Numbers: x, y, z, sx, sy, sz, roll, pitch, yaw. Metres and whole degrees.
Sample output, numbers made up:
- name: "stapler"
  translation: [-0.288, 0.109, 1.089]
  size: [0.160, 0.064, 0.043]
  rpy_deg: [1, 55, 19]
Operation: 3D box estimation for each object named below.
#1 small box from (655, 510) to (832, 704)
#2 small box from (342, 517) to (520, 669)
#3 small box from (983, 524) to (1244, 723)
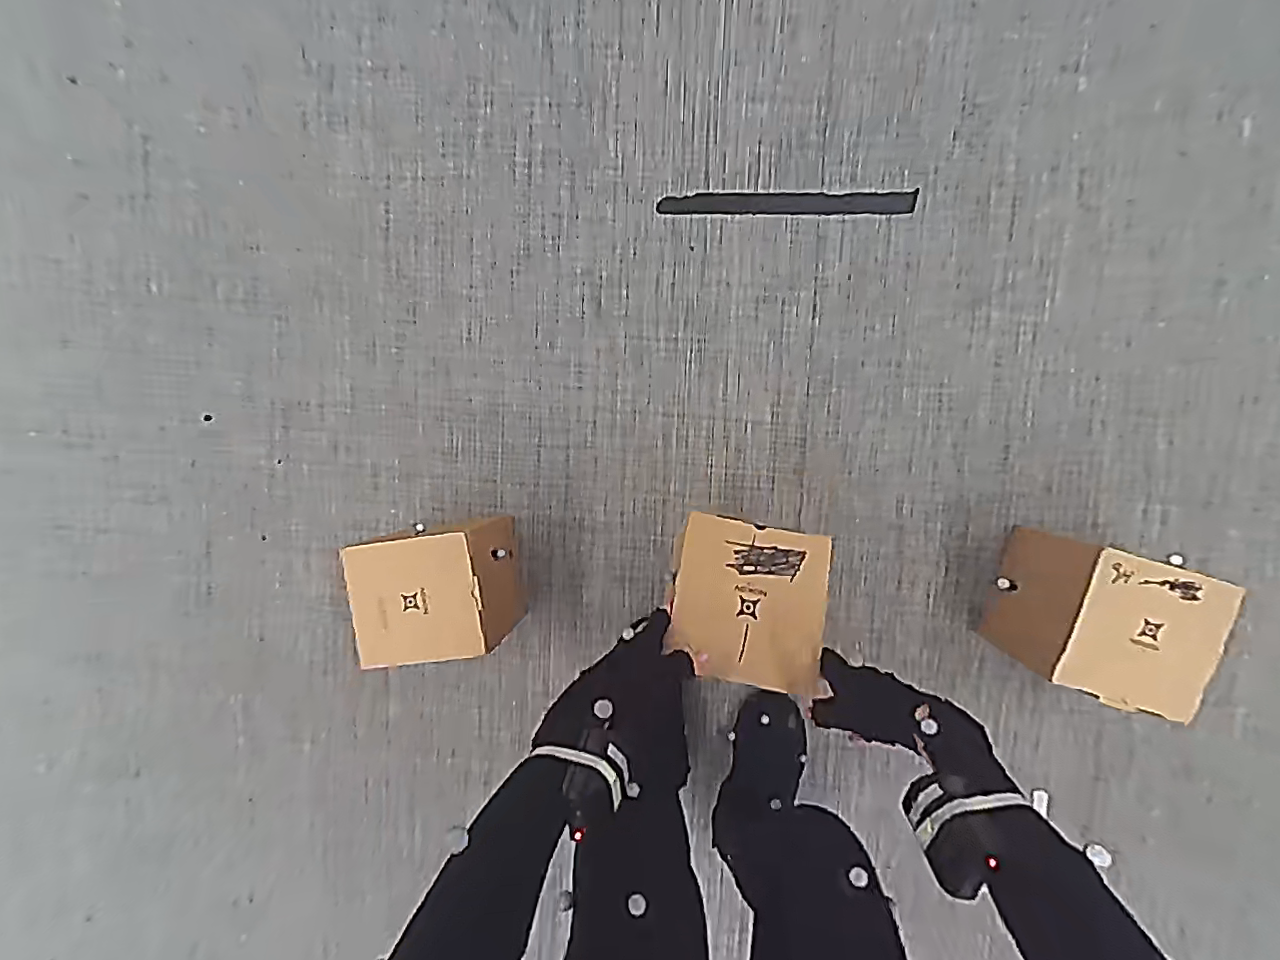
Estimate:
- name: "small box"
  translation: [0.115, 0.155, 0.652]
  size: [0.168, 0.176, 0.179]
  rpy_deg: [12, 72, 2]
- name: "small box"
  translation: [-0.283, 0.151, 0.776]
  size: [0.179, 0.176, 0.168]
  rpy_deg: [-9, 92, 6]
- name: "small box"
  translation: [0.589, 0.172, 0.705]
  size: [0.168, 0.176, 0.179]
  rpy_deg: [17, 96, 3]
